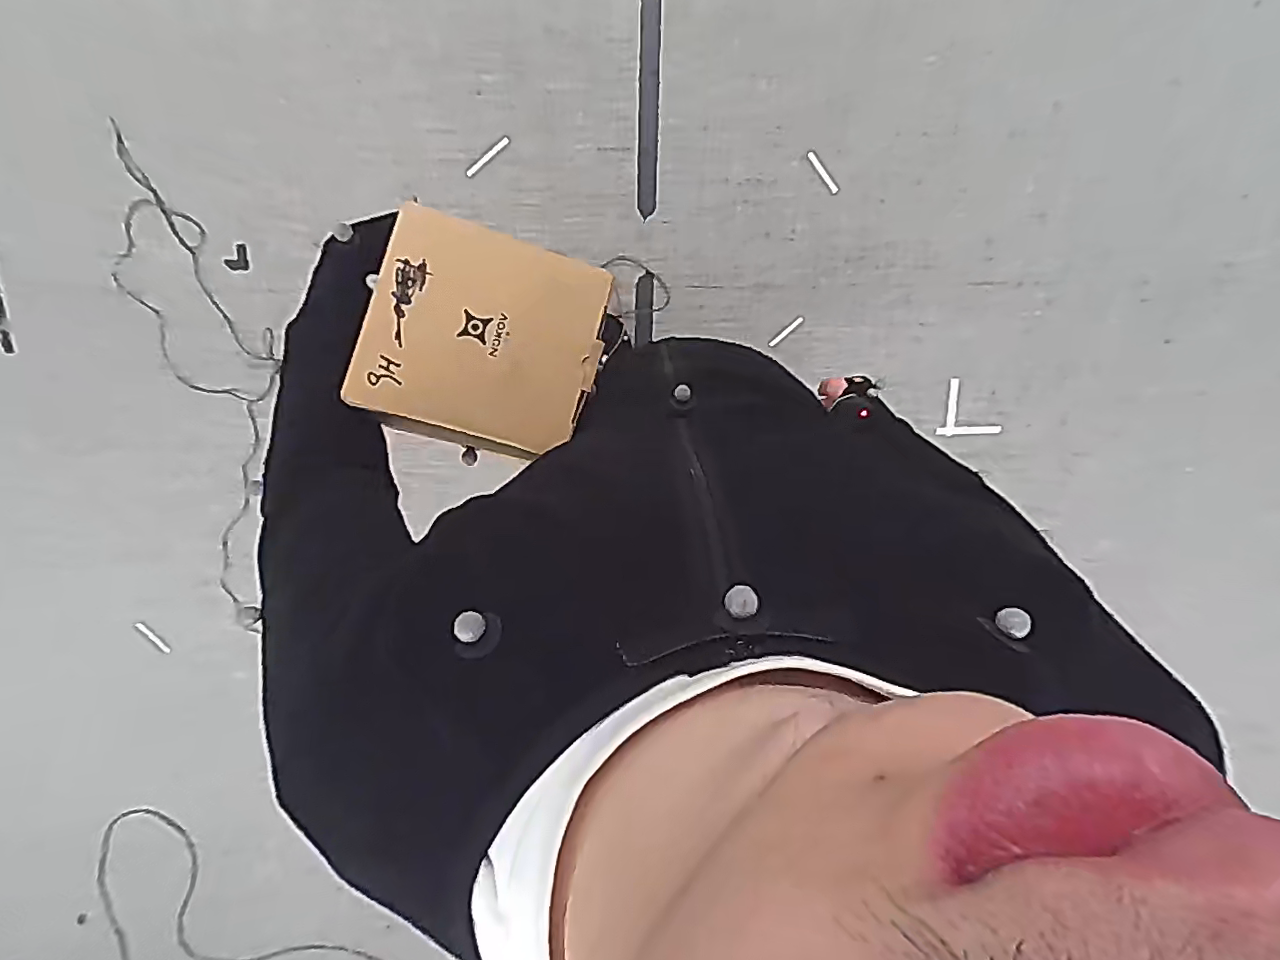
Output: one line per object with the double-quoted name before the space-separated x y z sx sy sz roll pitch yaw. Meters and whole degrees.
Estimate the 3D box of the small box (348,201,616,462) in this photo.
"small box" -0.139 -0.118 0.513 0.179 0.176 0.168 15 84 -12
